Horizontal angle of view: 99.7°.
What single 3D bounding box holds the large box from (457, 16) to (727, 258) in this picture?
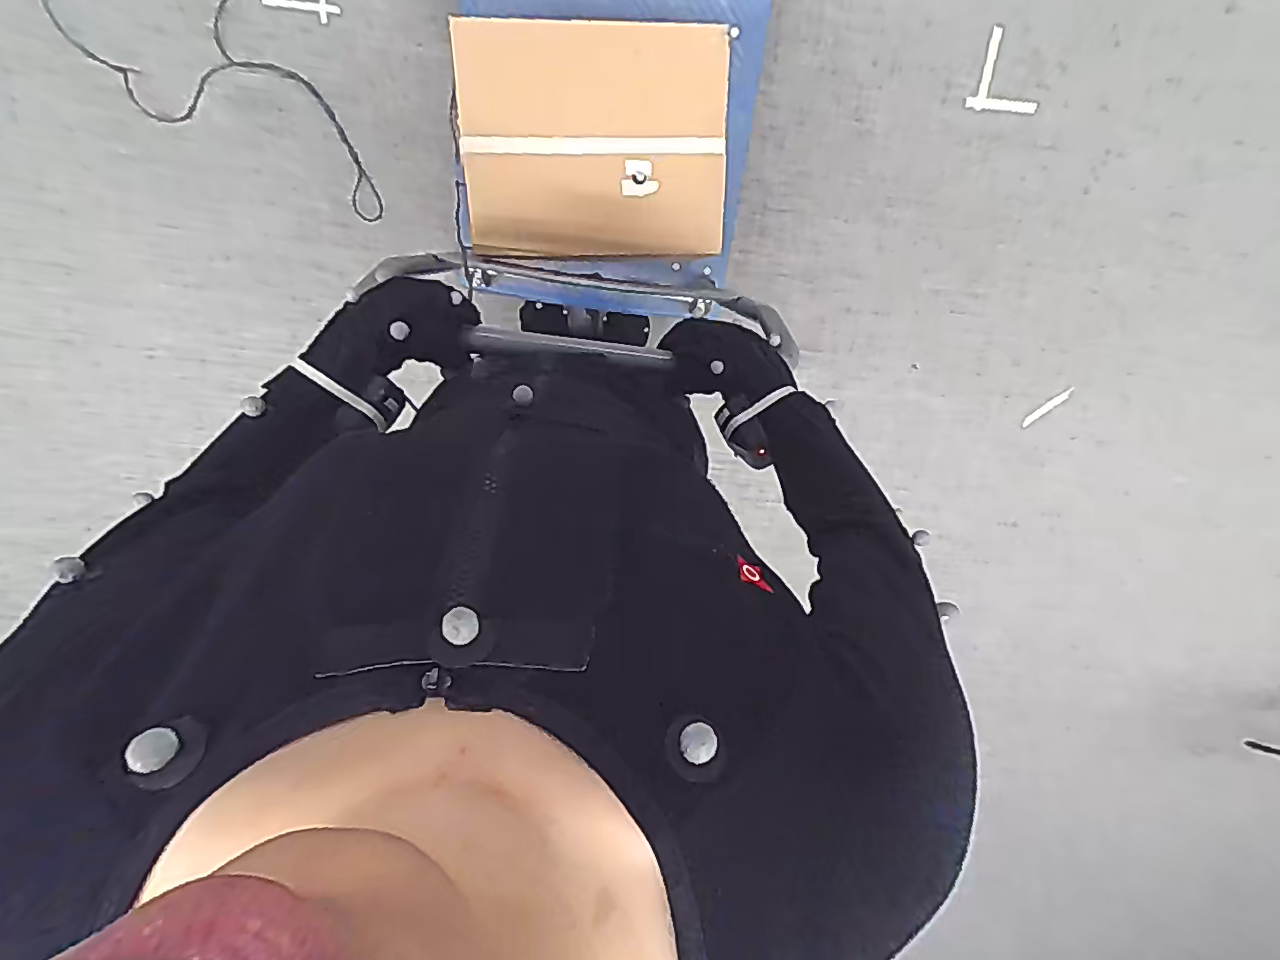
[{"bbox_3d":[-0.078,-0.582,0.980,0.408,0.320,0.320,-2,111,-4],"label":"large box"}]
